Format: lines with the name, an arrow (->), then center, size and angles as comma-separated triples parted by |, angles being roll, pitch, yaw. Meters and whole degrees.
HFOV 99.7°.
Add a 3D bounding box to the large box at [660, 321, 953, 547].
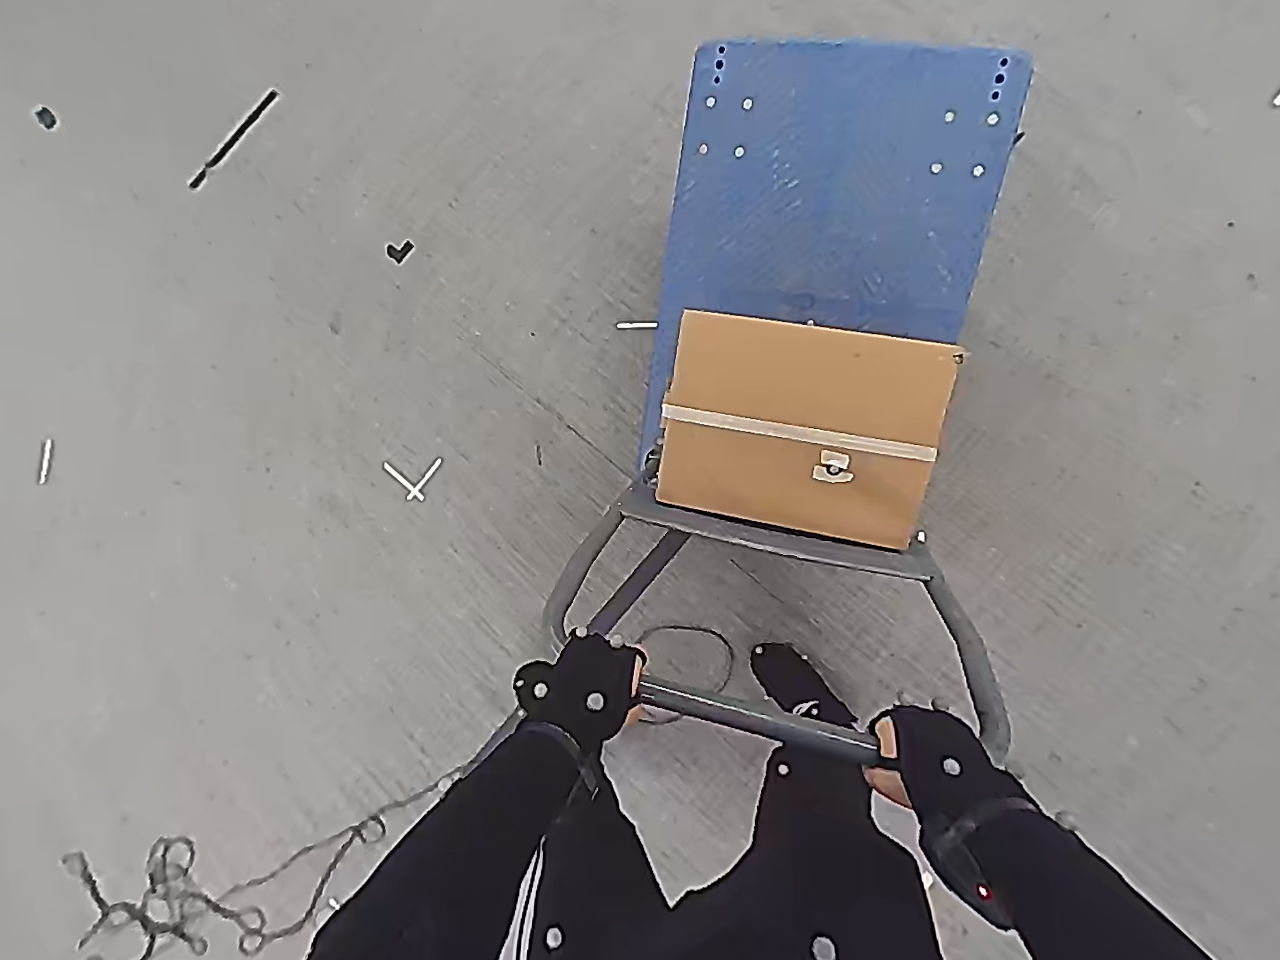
large box -> 0.271, -0.104, 0.992 | 0.408, 0.320, 0.320 | 11, 106, 10
